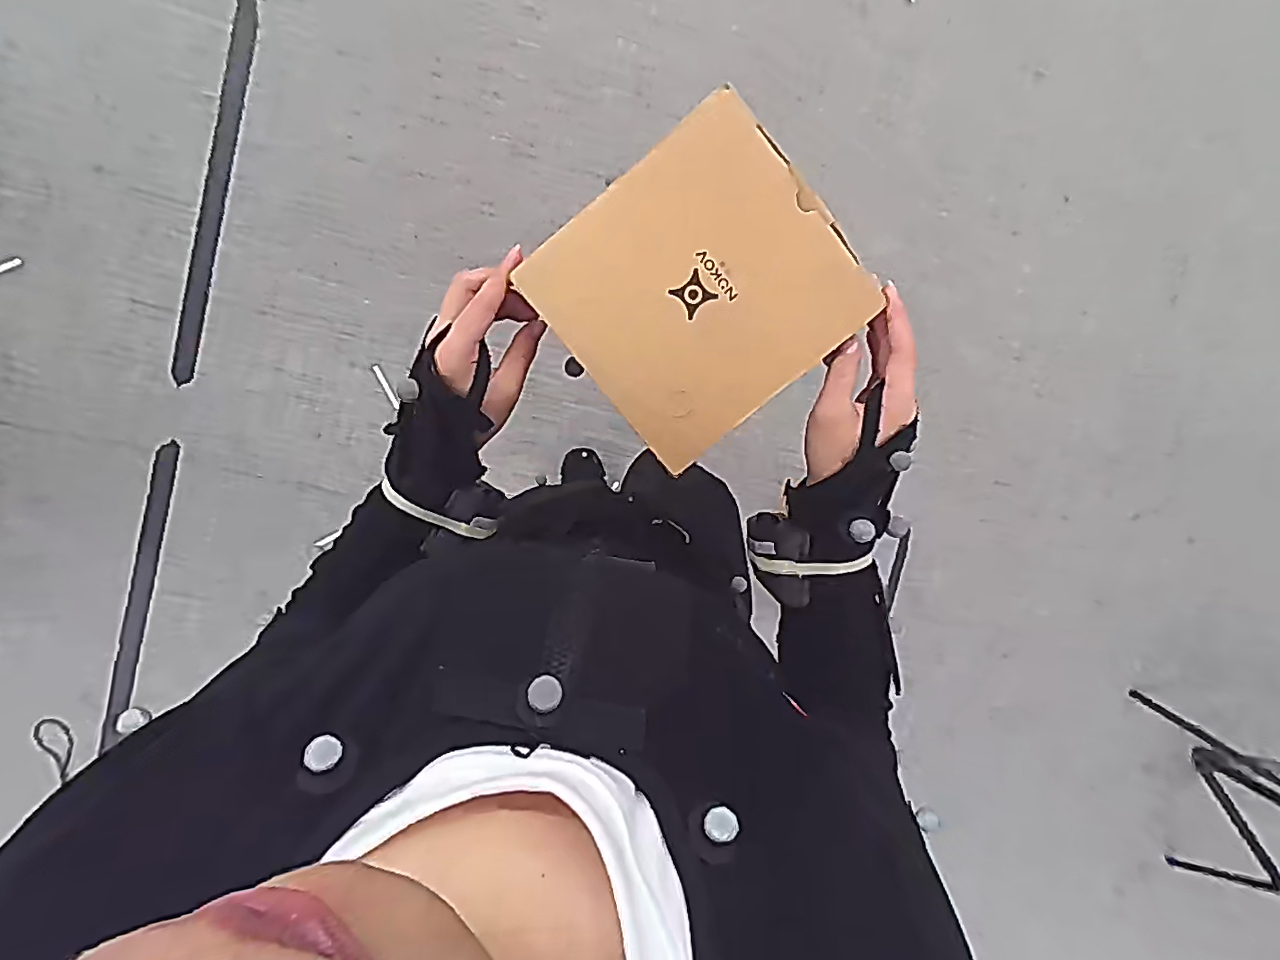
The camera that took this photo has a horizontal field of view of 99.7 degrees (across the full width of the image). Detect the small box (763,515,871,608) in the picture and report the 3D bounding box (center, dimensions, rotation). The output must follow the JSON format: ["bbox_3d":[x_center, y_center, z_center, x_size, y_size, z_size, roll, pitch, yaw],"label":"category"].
[{"bbox_3d":[0.434,0.195,1.356,0.179,0.176,0.168,21,94,-8],"label":"small box"}]
